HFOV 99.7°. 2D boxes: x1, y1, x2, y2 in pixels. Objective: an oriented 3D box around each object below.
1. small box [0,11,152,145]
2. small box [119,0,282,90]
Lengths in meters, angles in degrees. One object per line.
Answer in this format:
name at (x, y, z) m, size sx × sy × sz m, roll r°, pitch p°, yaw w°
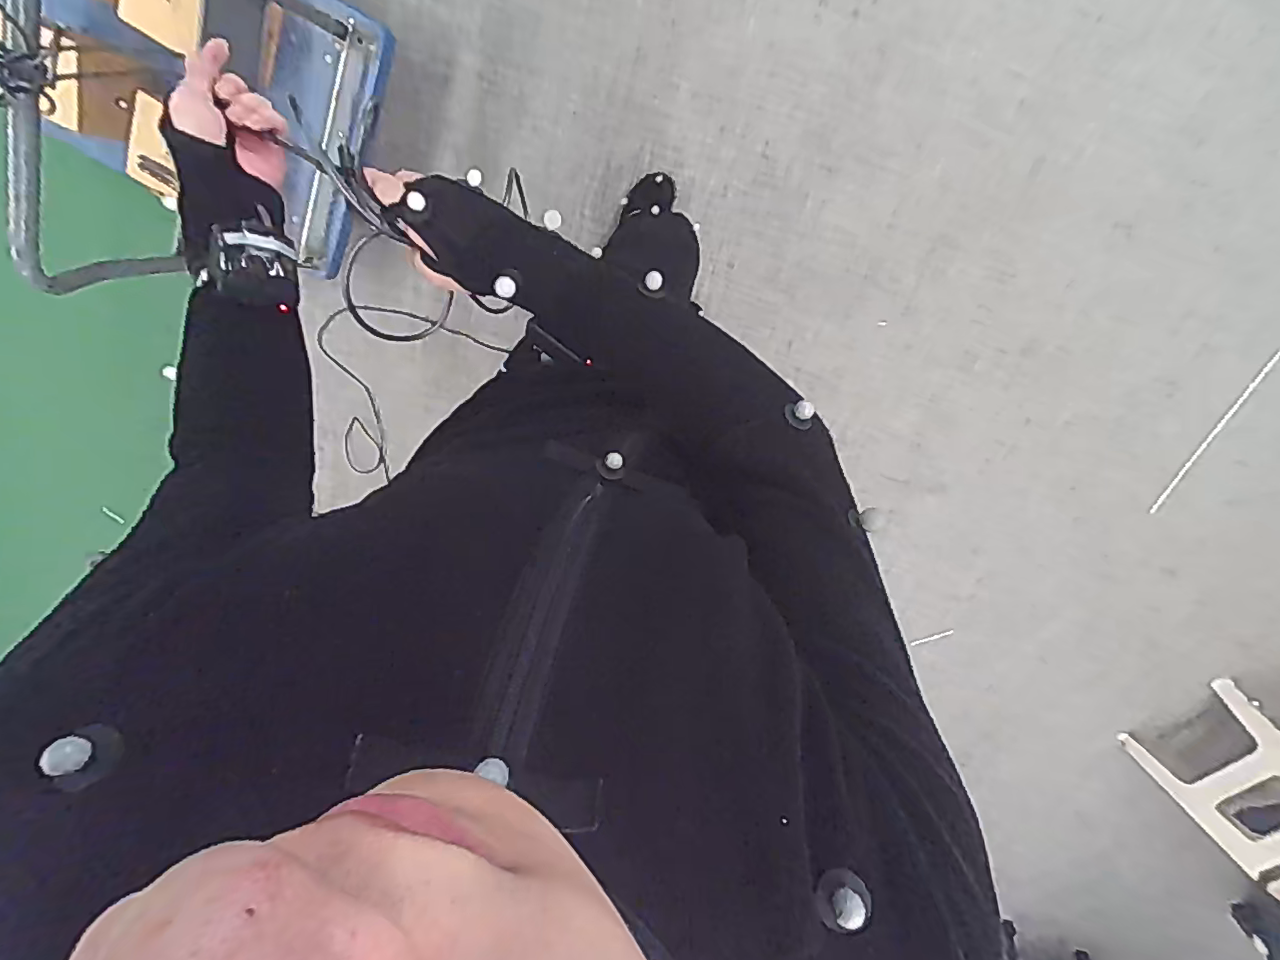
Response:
small box at (-1.203, -0.847, 1.159) m, size 0.179 × 0.176 × 0.168 m, roll 26°, pitch 114°, yaw -5°
small box at (-0.870, -0.924, 1.082) m, size 0.179 × 0.176 × 0.168 m, roll 30°, pitch 115°, yaw -8°
